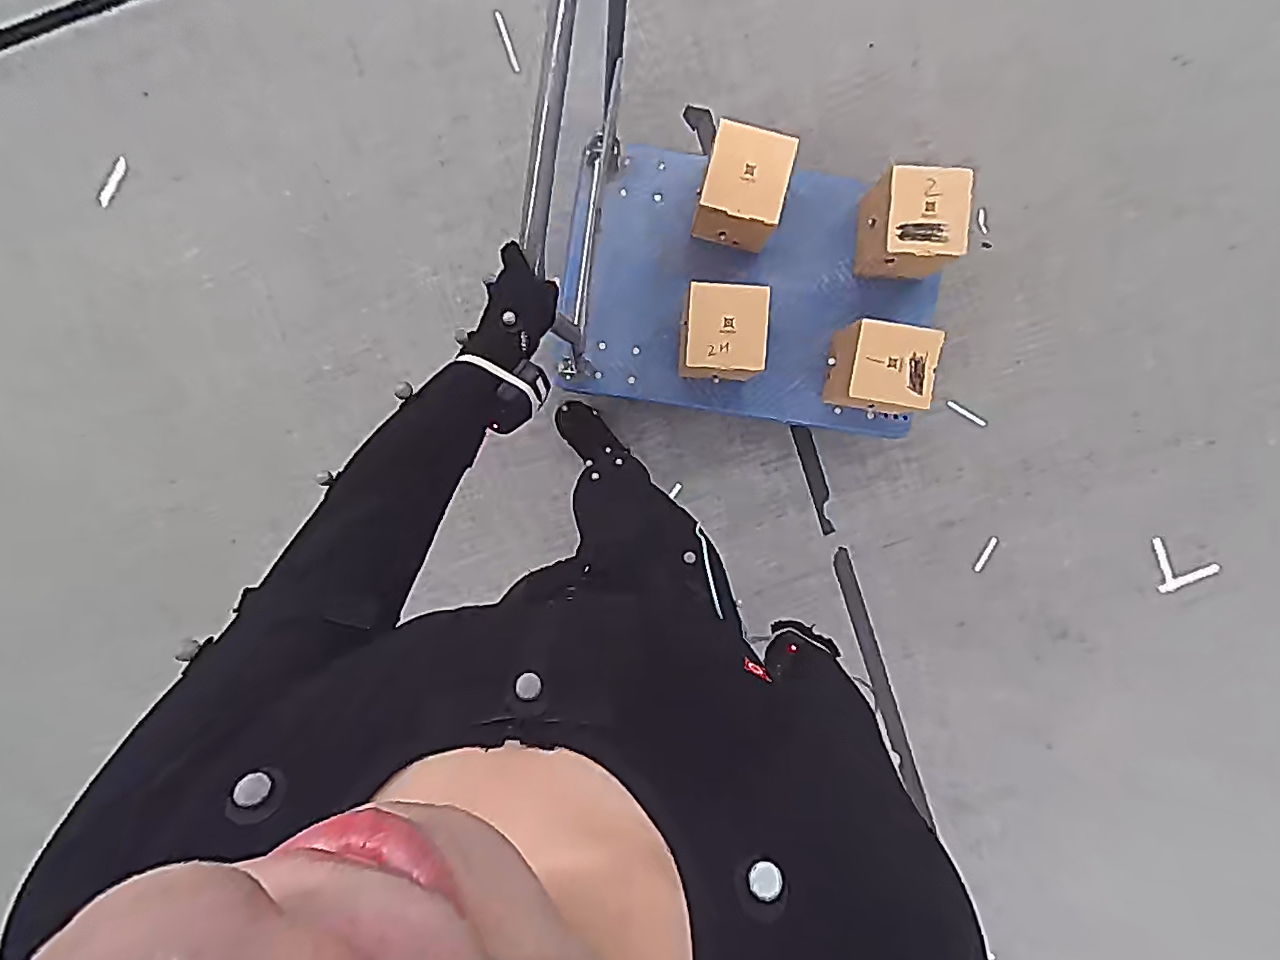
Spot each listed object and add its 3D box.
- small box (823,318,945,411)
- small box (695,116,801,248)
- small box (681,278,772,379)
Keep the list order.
[{"bbox_3d":[0.532,-0.247,1.198,0.179,0.176,0.168,10,94,0],"label":"small box"},{"bbox_3d":[0.223,-0.630,1.164,0.168,0.176,0.179,14,96,-3],"label":"small box"},{"bbox_3d":[0.182,-0.325,1.188,0.168,0.176,0.179,4,94,-1],"label":"small box"}]
